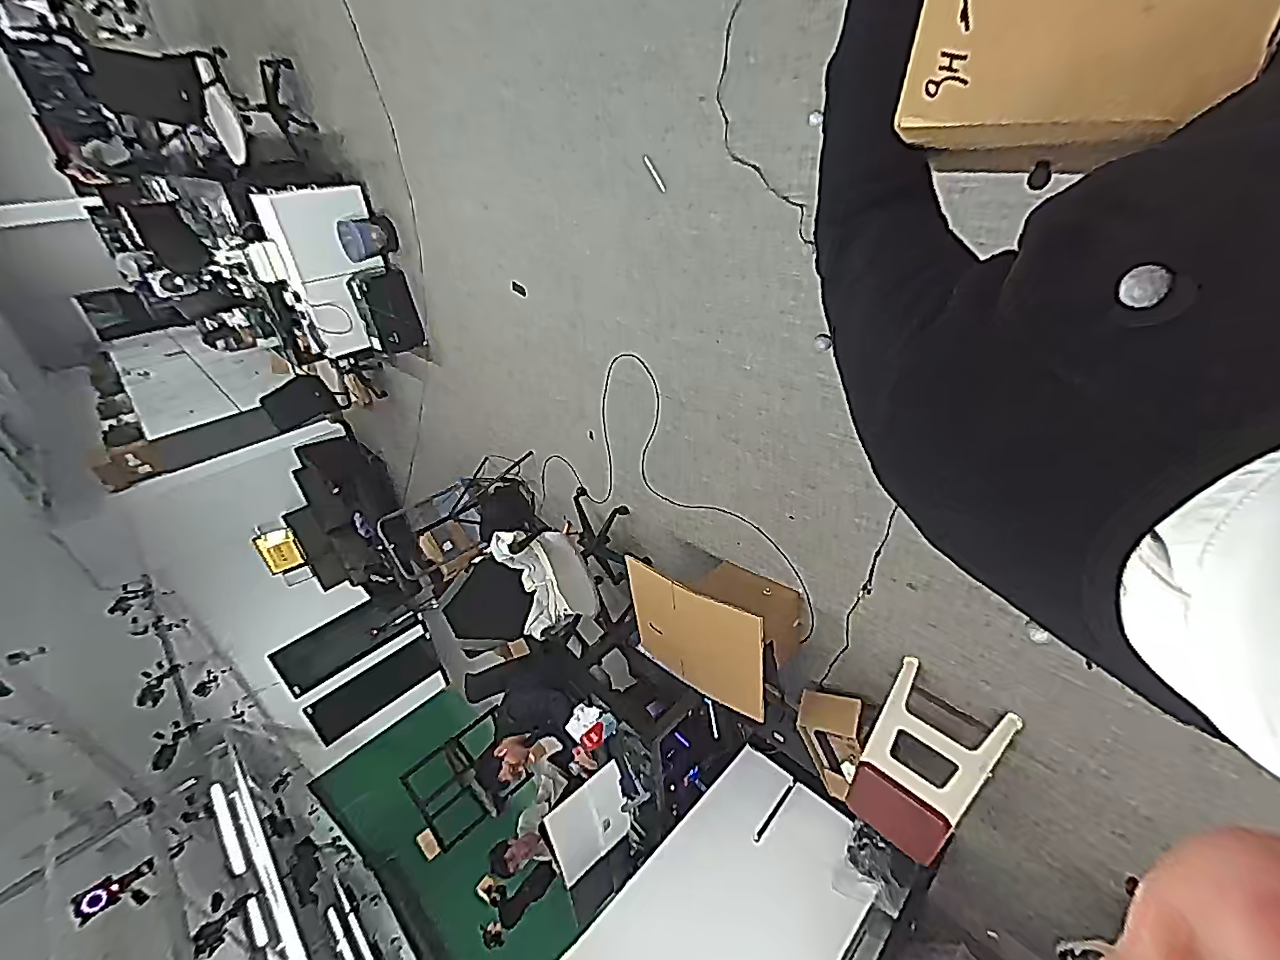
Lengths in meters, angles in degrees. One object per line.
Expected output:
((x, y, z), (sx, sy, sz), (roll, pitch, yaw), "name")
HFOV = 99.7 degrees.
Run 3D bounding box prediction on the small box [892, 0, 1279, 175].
((0.298, -0.313, 0.362), (0.179, 0.176, 0.168), (20, 116, 29), "small box")
